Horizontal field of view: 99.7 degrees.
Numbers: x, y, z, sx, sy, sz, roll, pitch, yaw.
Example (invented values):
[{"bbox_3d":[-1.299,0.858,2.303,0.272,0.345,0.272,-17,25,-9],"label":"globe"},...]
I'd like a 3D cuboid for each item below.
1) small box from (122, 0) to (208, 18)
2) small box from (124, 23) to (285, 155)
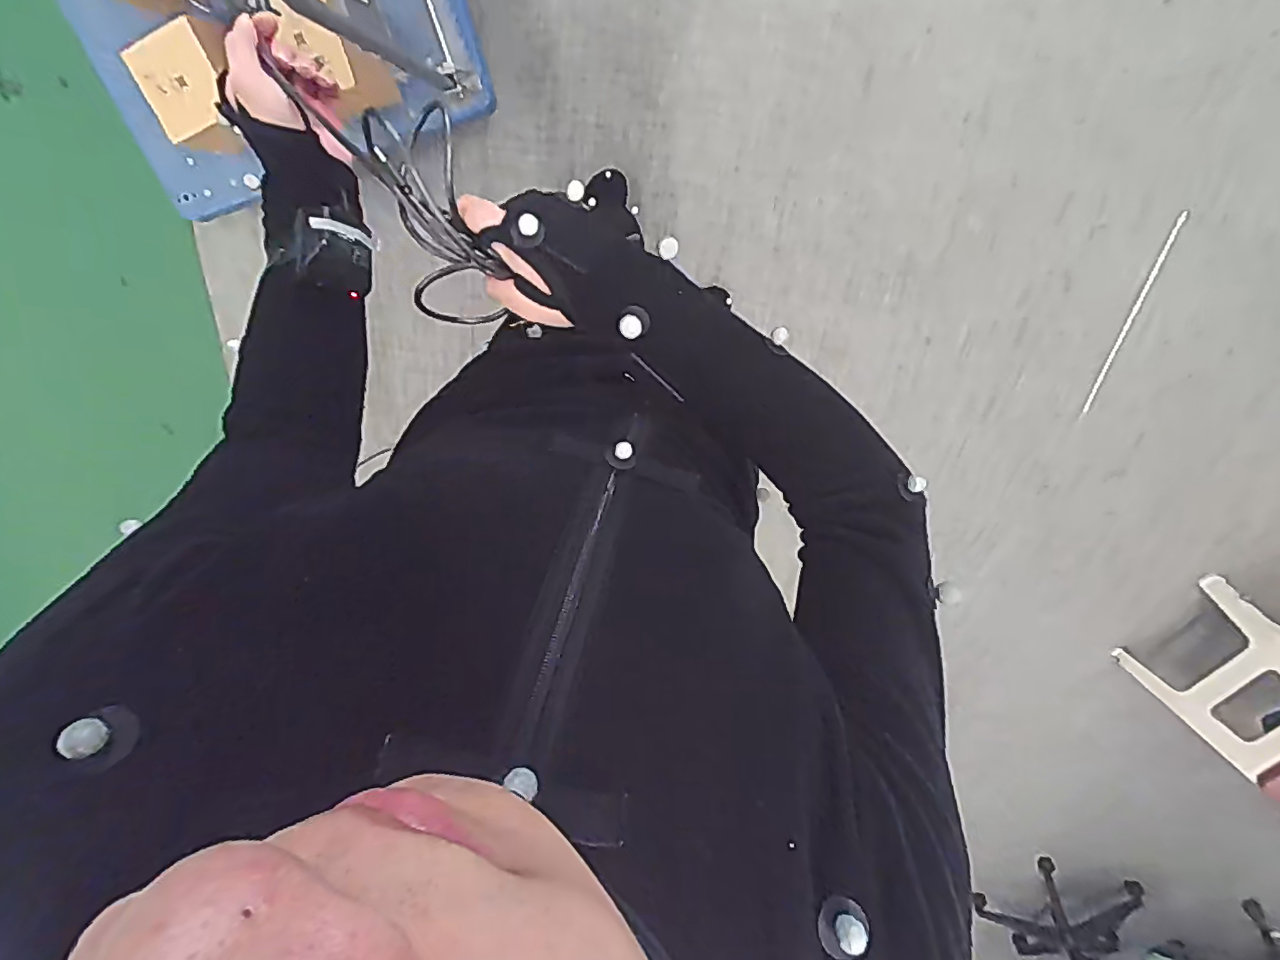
[{"bbox_3d":[-0.961,-1.034,1.036,0.179,0.176,0.168,-12,115,13],"label":"small box"},{"bbox_3d":[-0.896,-0.810,1.139,0.179,0.176,0.168,-14,113,15],"label":"small box"}]
